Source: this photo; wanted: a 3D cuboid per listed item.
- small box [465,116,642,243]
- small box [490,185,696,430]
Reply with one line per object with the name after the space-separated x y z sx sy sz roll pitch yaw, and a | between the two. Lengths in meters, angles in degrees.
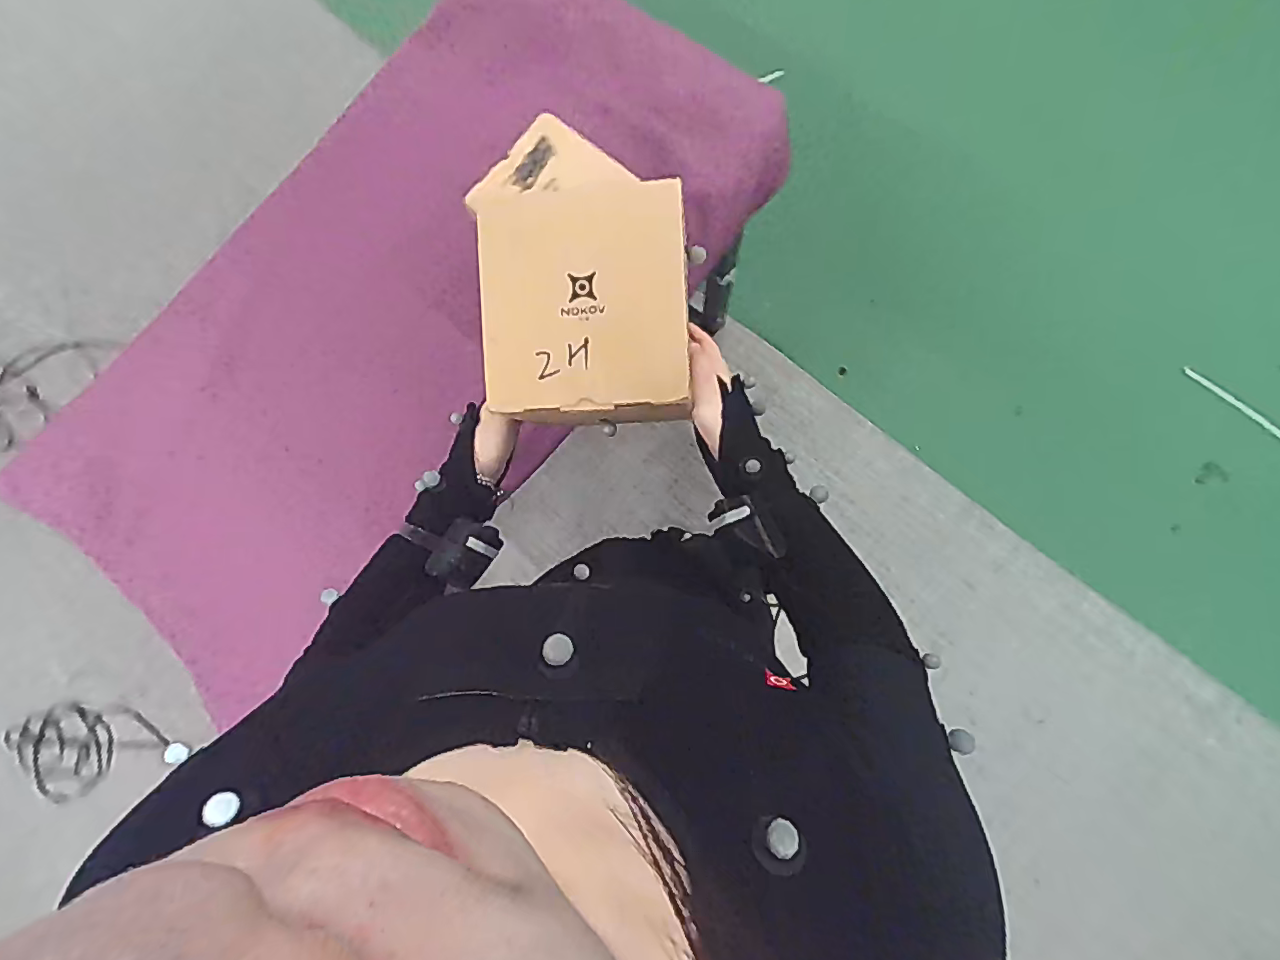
-0.110 -0.357 0.777 0.179 0.176 0.168 39 86 7 | small box
-0.032 -0.143 0.507 0.168 0.176 0.179 -1 91 6 | small box
